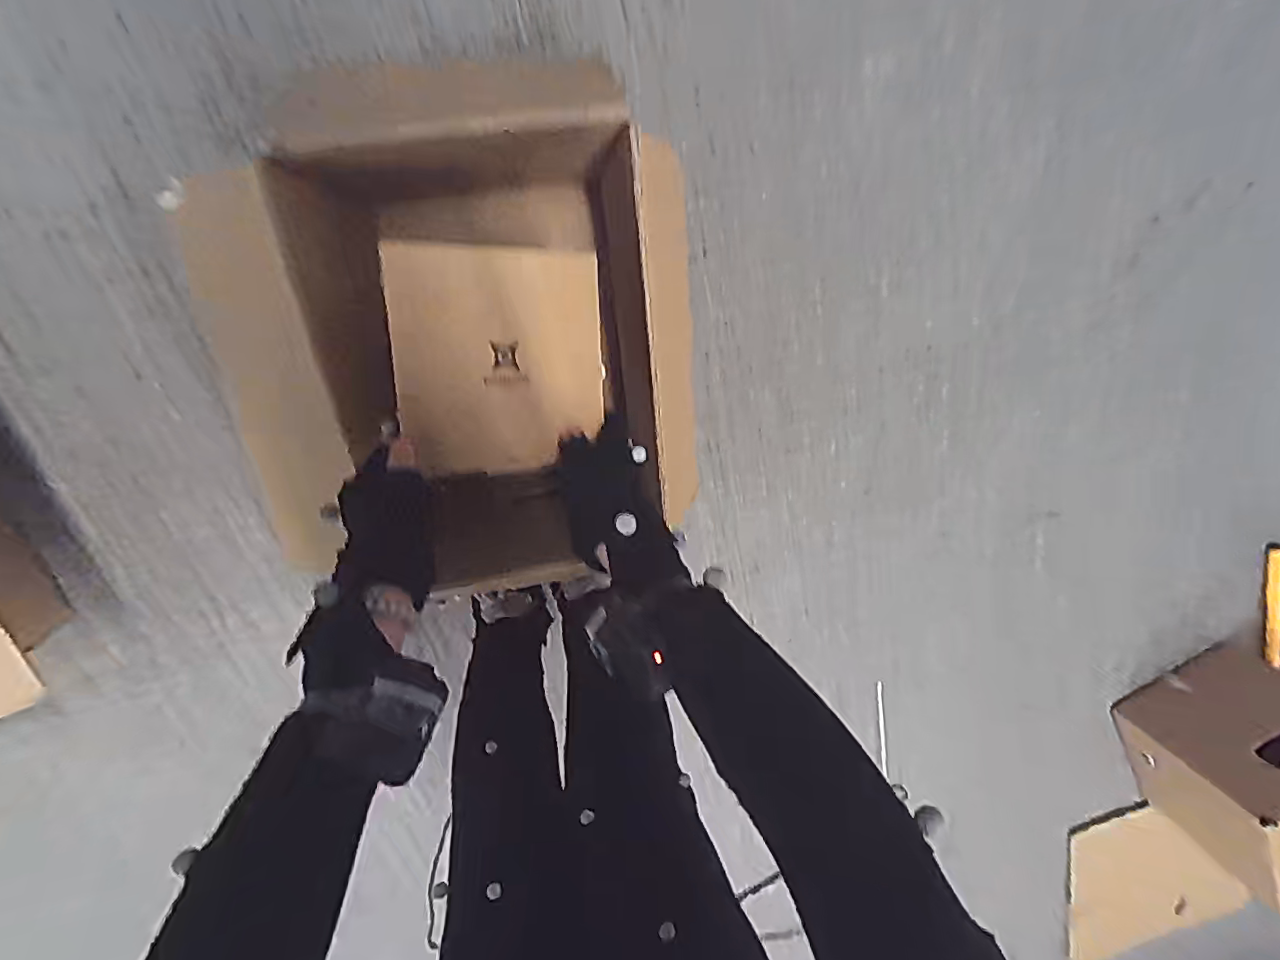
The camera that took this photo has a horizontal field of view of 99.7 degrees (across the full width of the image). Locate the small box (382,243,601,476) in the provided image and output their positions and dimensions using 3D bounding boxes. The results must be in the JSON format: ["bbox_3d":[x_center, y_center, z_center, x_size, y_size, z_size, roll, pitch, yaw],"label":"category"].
[{"bbox_3d":[-0.145,-0.108,0.510,0.168,0.176,0.179,-7,102,-23],"label":"small box"}]
